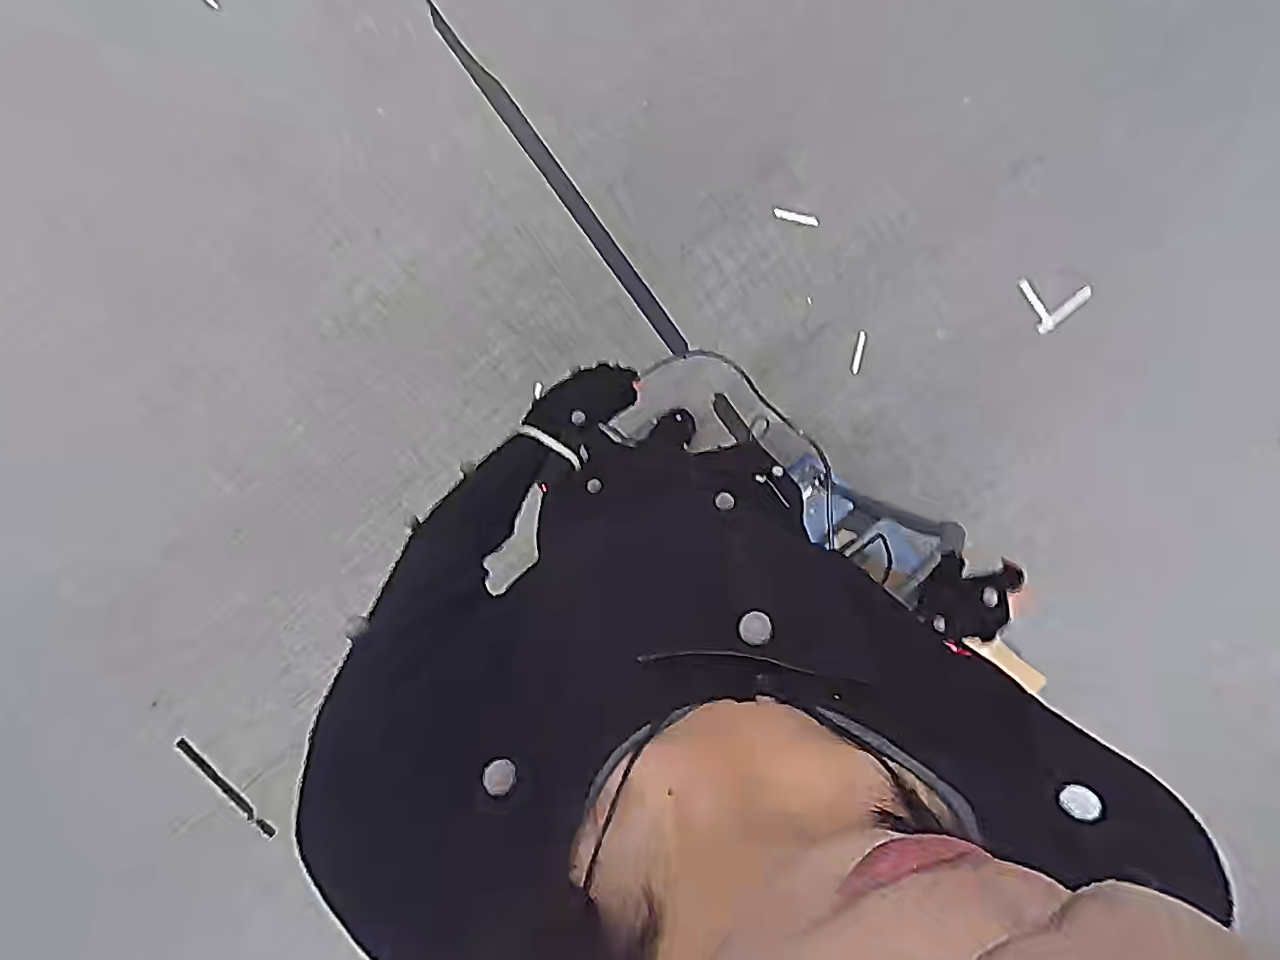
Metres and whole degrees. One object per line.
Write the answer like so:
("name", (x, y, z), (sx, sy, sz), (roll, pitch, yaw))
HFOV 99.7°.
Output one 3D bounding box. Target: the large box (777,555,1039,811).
("large box", (0.601, 0.454, 1.284), (0.320, 0.320, 0.408), (37, 97, -6))
